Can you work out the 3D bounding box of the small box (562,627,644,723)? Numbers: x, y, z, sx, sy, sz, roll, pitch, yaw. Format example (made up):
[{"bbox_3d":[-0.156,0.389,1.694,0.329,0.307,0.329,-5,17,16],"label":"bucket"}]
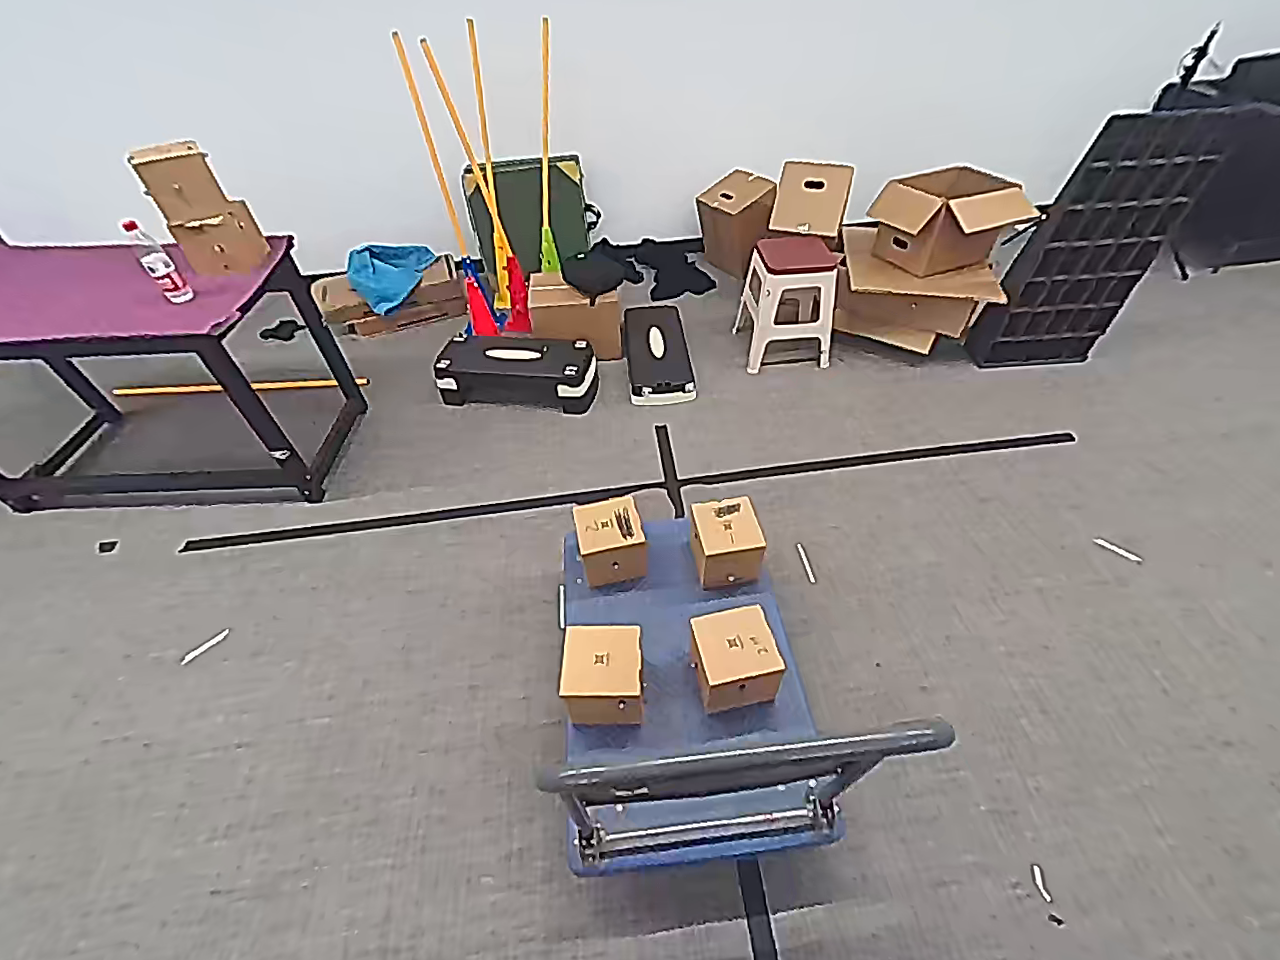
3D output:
[{"bbox_3d":[-0.080,0.460,1.271,0.179,0.176,0.168,-1,47,1],"label":"small box"}]

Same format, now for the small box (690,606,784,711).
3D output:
[{"bbox_3d":[0.222,0.427,1.285,0.179,0.176,0.168,-10,48,-6],"label":"small box"}]

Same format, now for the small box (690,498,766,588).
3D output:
[{"bbox_3d":[0.238,0.178,1.516,0.168,0.176,0.179,-8,48,-4],"label":"small box"}]
